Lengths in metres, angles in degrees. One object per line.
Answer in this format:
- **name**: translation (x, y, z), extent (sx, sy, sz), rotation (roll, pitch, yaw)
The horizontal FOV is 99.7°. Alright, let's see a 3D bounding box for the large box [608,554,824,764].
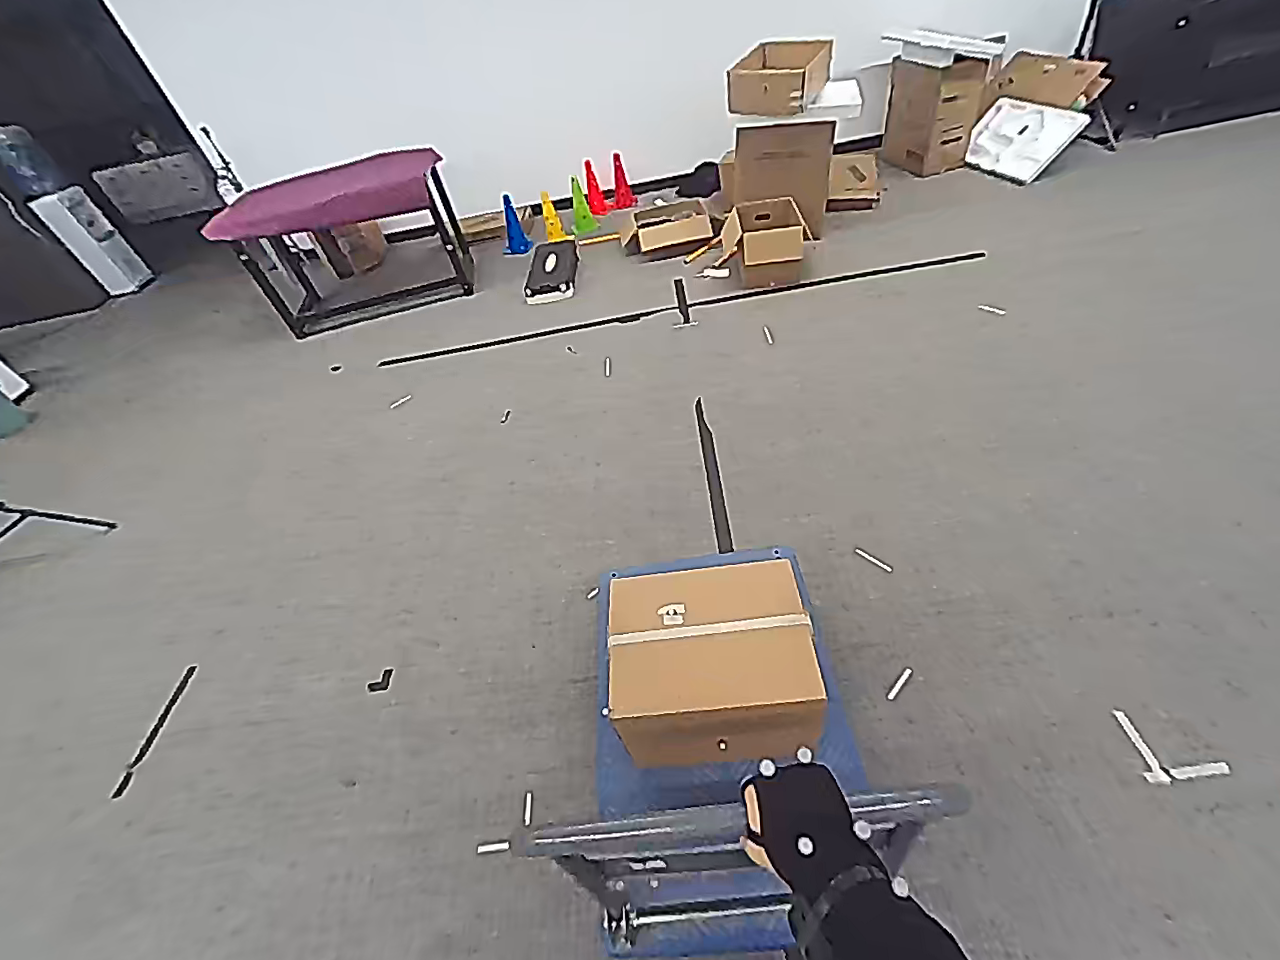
- **large box**: translation (0.159, 0.404, 1.198), extent (0.408, 0.320, 0.320), rotation (-9, 44, 6)
